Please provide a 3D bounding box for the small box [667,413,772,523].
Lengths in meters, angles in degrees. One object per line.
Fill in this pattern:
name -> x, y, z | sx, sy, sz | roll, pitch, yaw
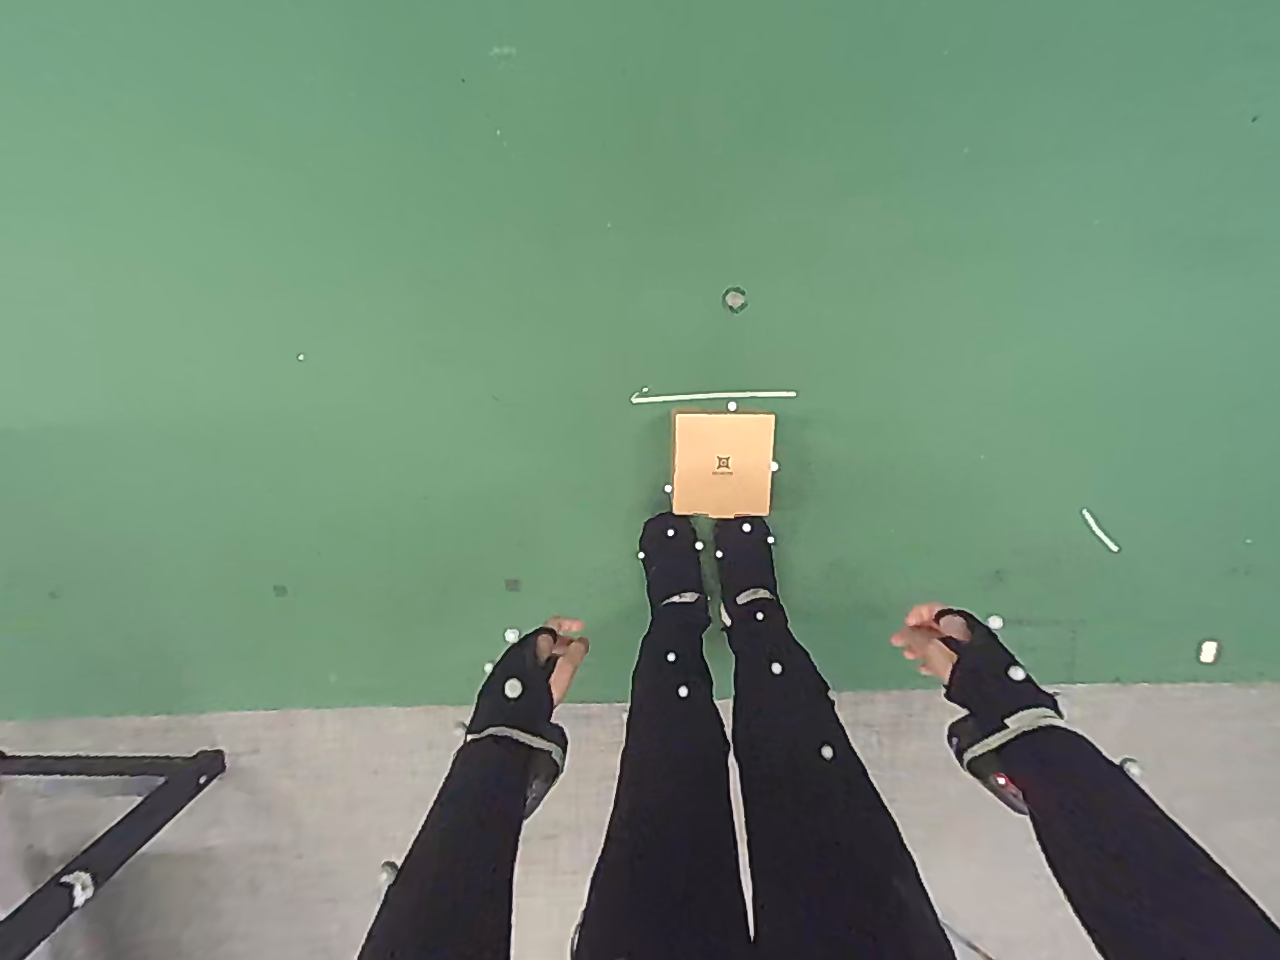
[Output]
small box -> 0.136, -0.029, 0.987 | 0.168, 0.176, 0.179 | 1, 102, 1
